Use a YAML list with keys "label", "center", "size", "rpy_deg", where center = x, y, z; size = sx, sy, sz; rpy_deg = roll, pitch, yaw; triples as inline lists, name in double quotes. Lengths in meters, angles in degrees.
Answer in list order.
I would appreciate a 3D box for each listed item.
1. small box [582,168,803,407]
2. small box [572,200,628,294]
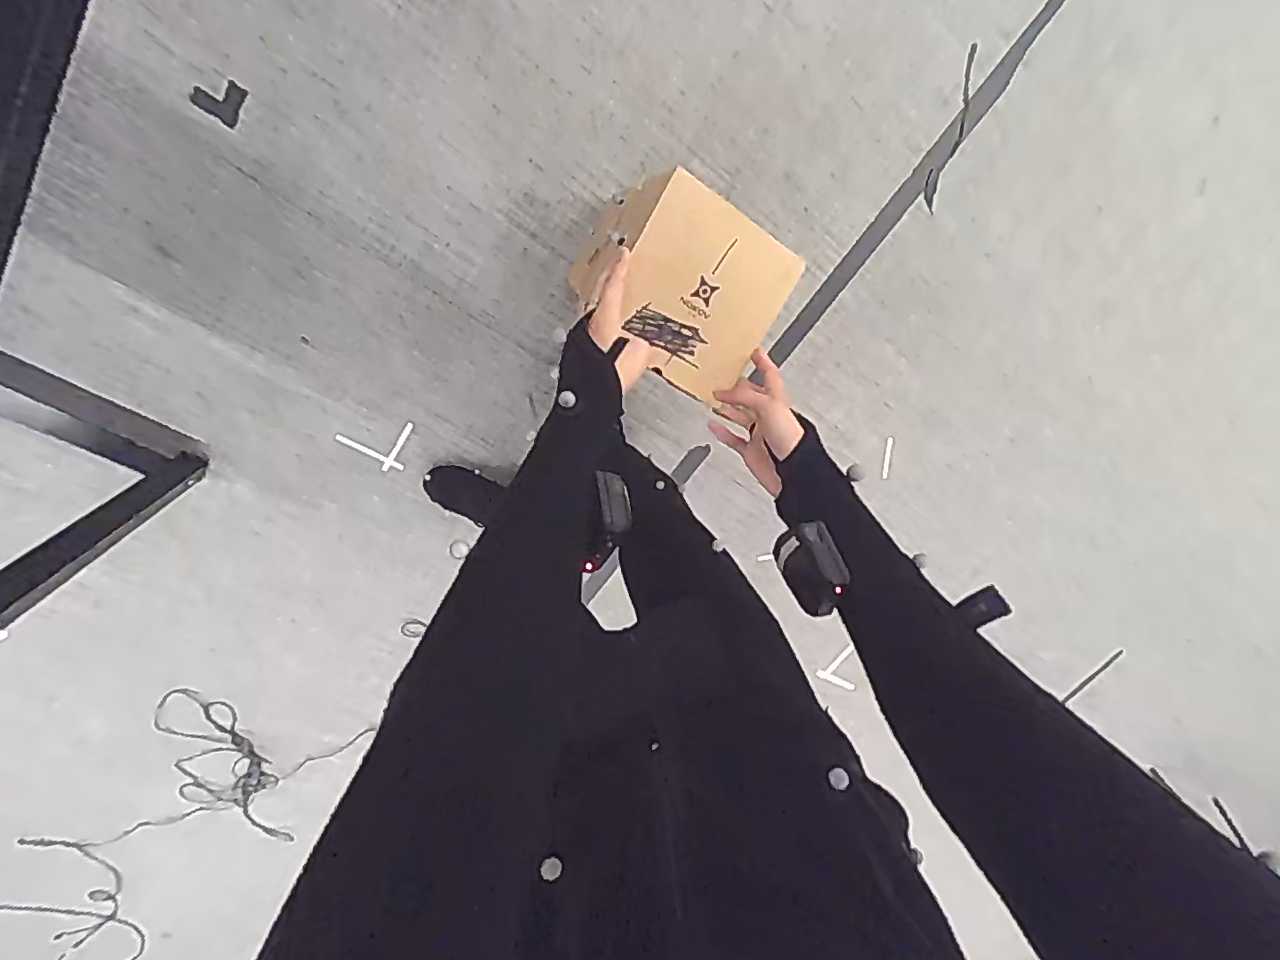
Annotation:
- label: "small box"
  center: [0.044, -0.216, 0.615]
  size: [0.168, 0.176, 0.179]
  rpy_deg: [26, 107, -20]
- label: "small box"
  center: [-0.026, -0.417, 1.058]
  size: [0.168, 0.176, 0.179]
  rpy_deg: [28, 108, -20]
